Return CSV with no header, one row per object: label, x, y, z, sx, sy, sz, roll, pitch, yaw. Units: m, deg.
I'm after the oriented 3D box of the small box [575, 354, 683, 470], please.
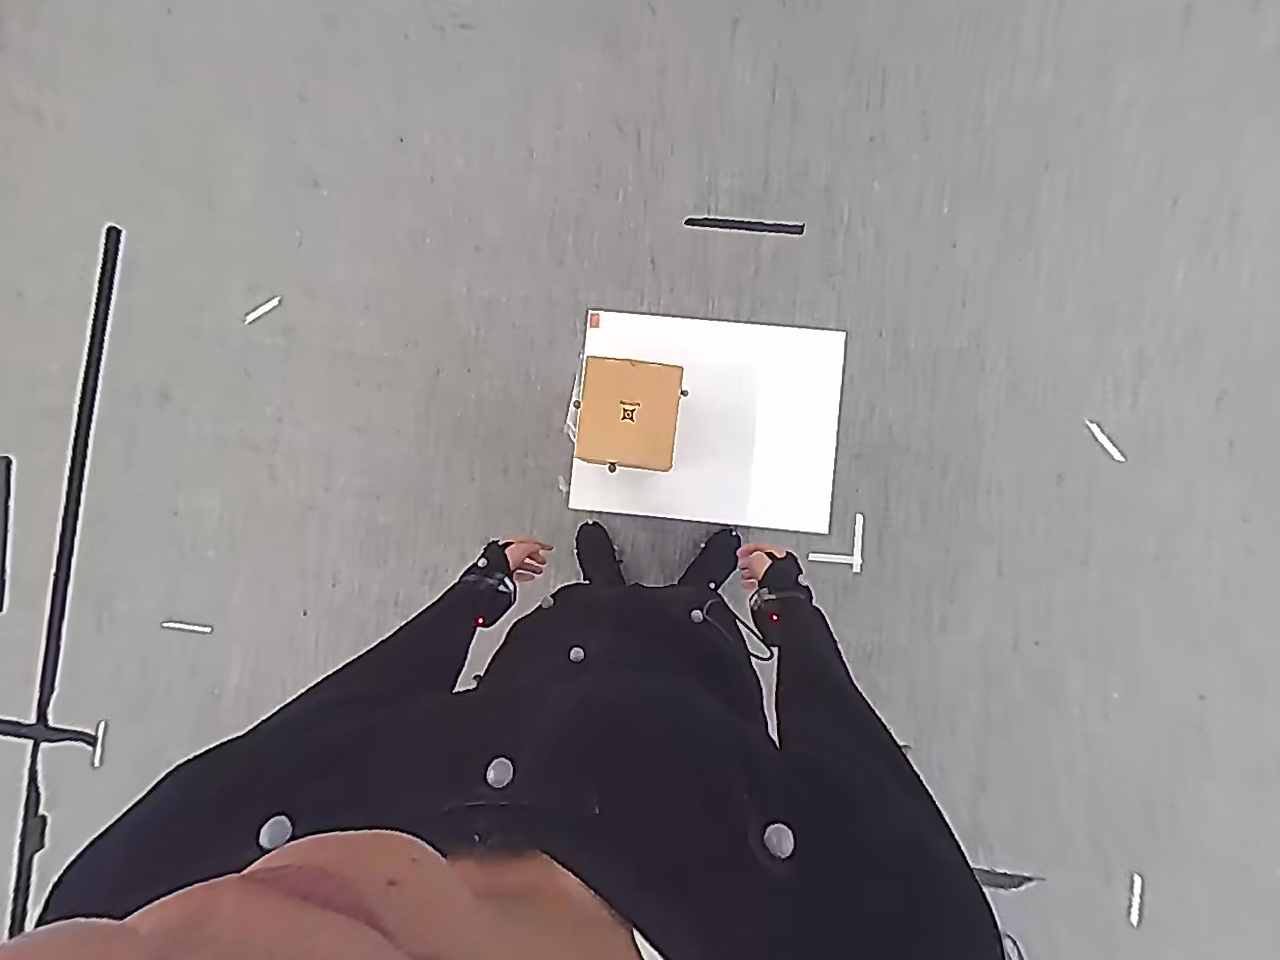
small box,-0.016,-0.114,0.979,0.168,0.176,0.179,6,88,2
